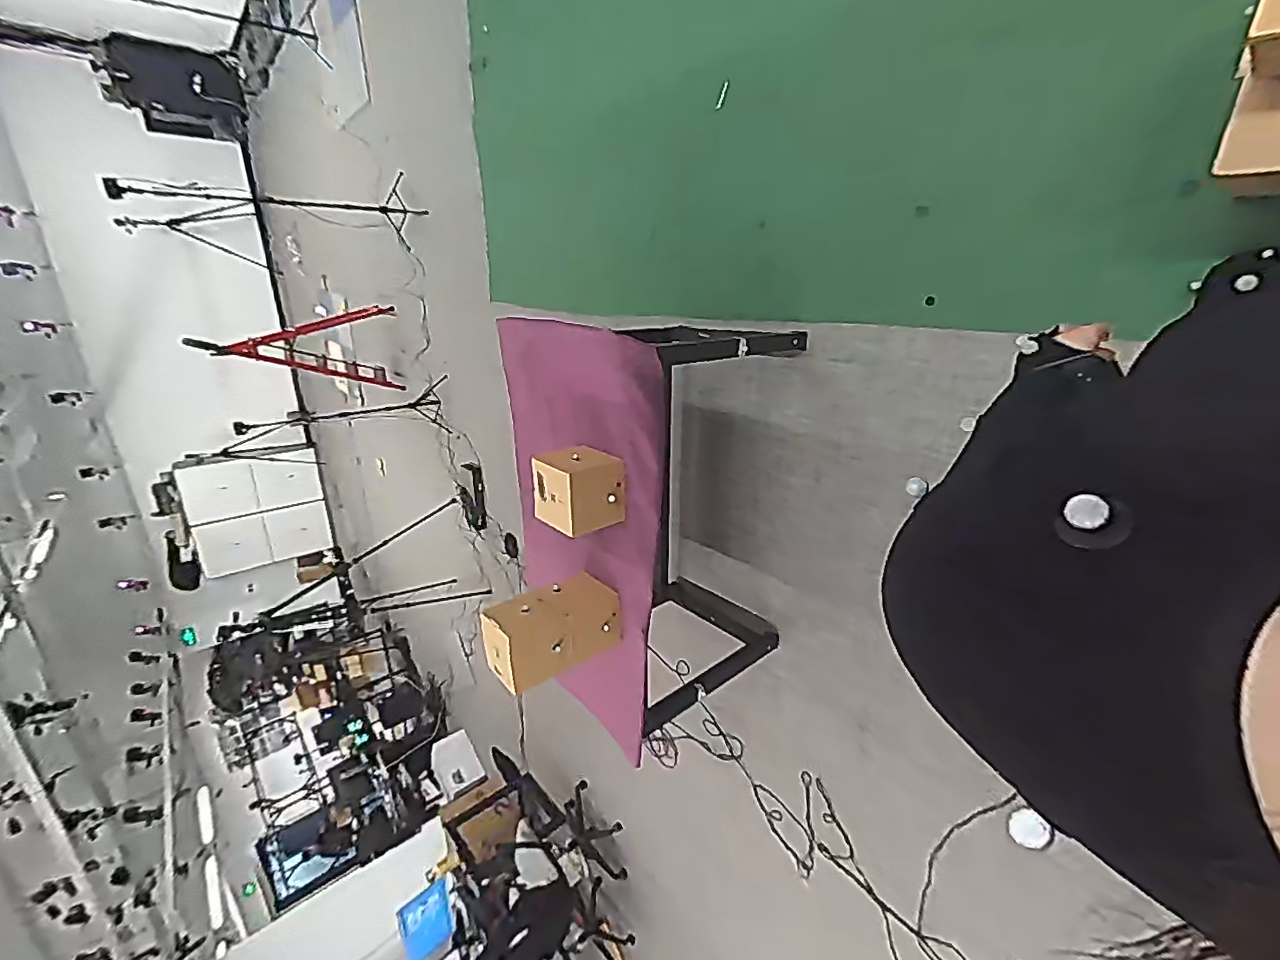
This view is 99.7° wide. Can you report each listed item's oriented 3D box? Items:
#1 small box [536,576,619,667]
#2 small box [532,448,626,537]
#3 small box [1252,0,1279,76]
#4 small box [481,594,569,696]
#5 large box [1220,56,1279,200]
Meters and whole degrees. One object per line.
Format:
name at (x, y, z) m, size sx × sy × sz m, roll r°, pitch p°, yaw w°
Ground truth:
small box at (-0.176, 0.388, 1.528) m, size 0.179 × 0.176 × 0.168 m, roll 21°, pitch 118°, yaw 48°
small box at (-0.155, 0.023, 1.377) m, size 0.179 × 0.176 × 0.168 m, roll 21°, pitch 119°, yaw 46°
small box at (0.839, -0.593, 0.605) m, size 0.168 × 0.176 × 0.179 m, roll 23°, pitch 119°, yaw 45°
small box at (-0.302, 0.424, 1.429) m, size 0.168 × 0.176 × 0.179 m, roll 20°, pitch 117°, yaw 49°
large box at (1.091, -0.568, 0.697) m, size 0.408 × 0.320 × 0.320 m, roll 23°, pitch 120°, yaw 45°
